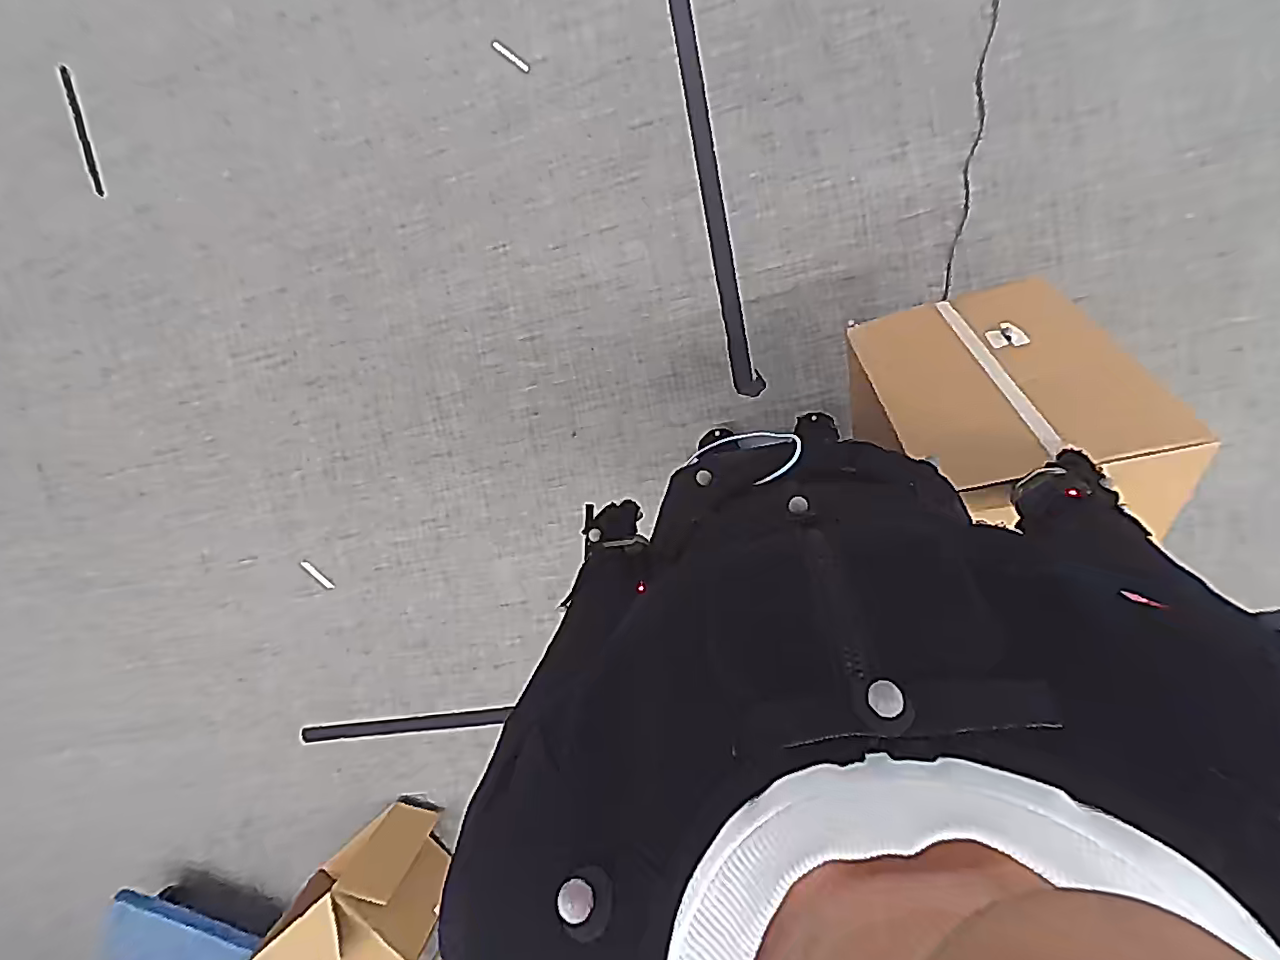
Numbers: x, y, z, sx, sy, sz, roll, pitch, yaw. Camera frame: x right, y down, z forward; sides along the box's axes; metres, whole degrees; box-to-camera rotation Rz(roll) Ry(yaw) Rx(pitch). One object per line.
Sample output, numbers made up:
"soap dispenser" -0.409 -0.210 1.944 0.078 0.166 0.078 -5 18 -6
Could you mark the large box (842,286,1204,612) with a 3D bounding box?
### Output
"large box" 0.558 -0.052 0.898 0.320 0.408 0.320 -13 134 11
